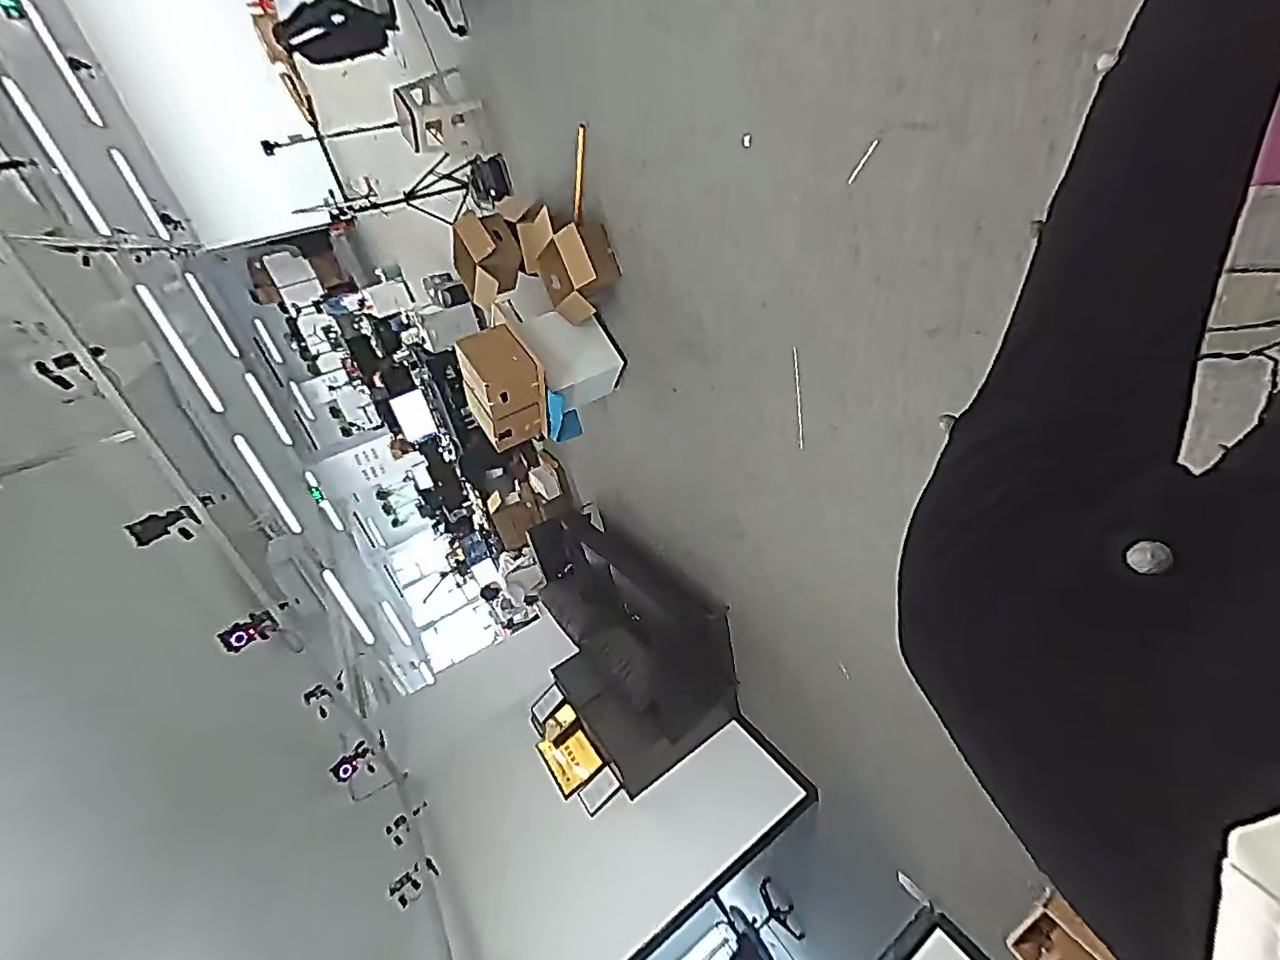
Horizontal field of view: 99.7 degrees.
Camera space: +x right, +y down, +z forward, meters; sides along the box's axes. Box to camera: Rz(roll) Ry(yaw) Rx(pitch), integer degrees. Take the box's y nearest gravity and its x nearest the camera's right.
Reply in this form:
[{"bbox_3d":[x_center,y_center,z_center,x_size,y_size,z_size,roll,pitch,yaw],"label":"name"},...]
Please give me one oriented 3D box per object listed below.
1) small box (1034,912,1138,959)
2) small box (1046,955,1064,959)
[{"bbox_3d":[1.313,1.422,1.583,0.168,0.176,0.179,40,148,41],"label":"small box"},{"bbox_3d":[1.184,1.493,1.515,0.168,0.176,0.179,40,148,41],"label":"small box"}]
